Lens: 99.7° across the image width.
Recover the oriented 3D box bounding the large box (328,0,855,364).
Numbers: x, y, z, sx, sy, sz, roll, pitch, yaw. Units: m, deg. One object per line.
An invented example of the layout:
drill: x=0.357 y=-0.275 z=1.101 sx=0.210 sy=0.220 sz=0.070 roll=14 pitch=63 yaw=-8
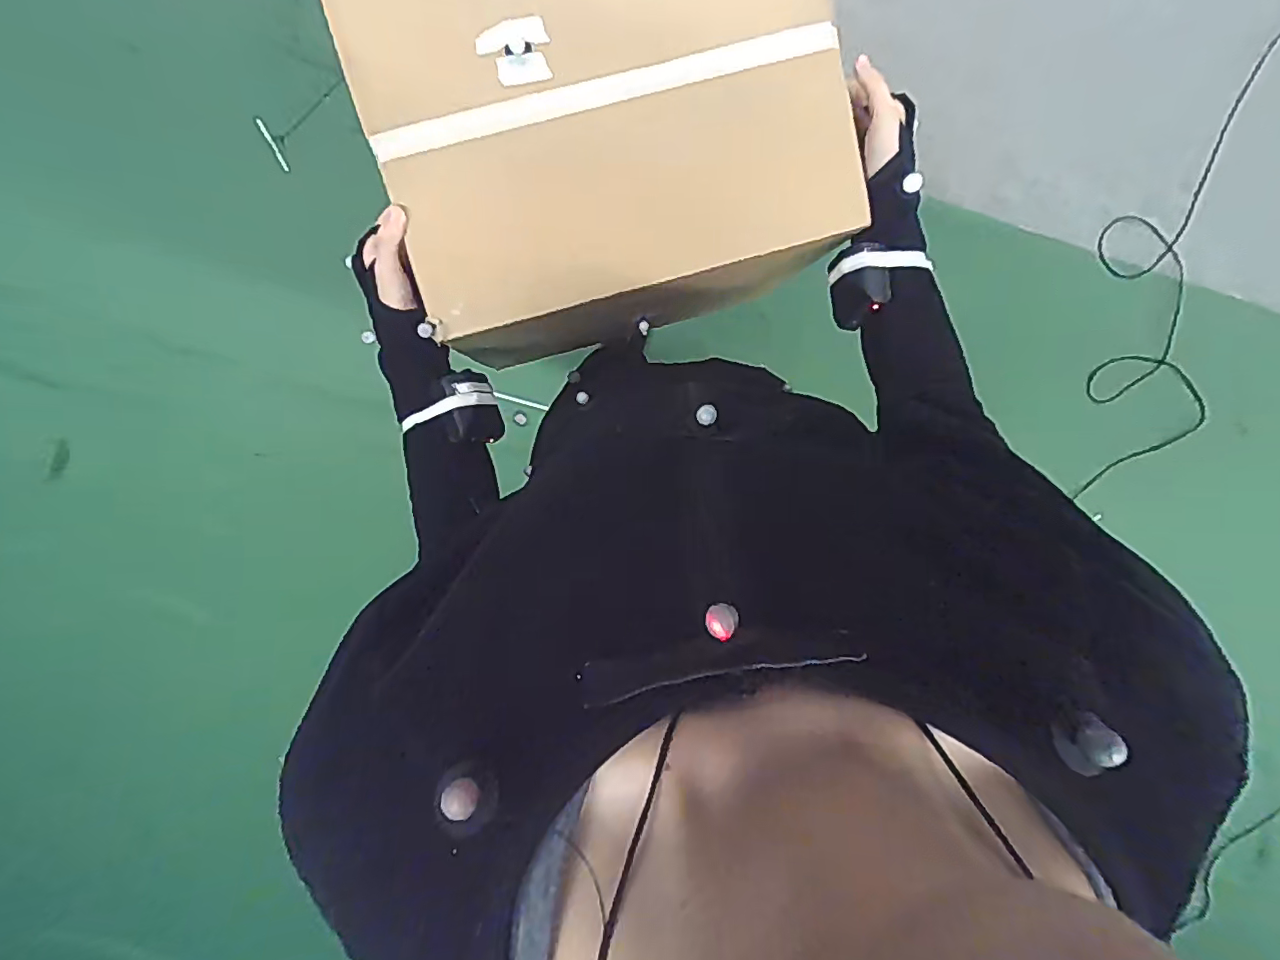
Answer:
large box: x=-0.040 y=-0.343 z=0.617 sx=0.408 sy=0.320 sz=0.320 roll=-16 pitch=98 yaw=-3
